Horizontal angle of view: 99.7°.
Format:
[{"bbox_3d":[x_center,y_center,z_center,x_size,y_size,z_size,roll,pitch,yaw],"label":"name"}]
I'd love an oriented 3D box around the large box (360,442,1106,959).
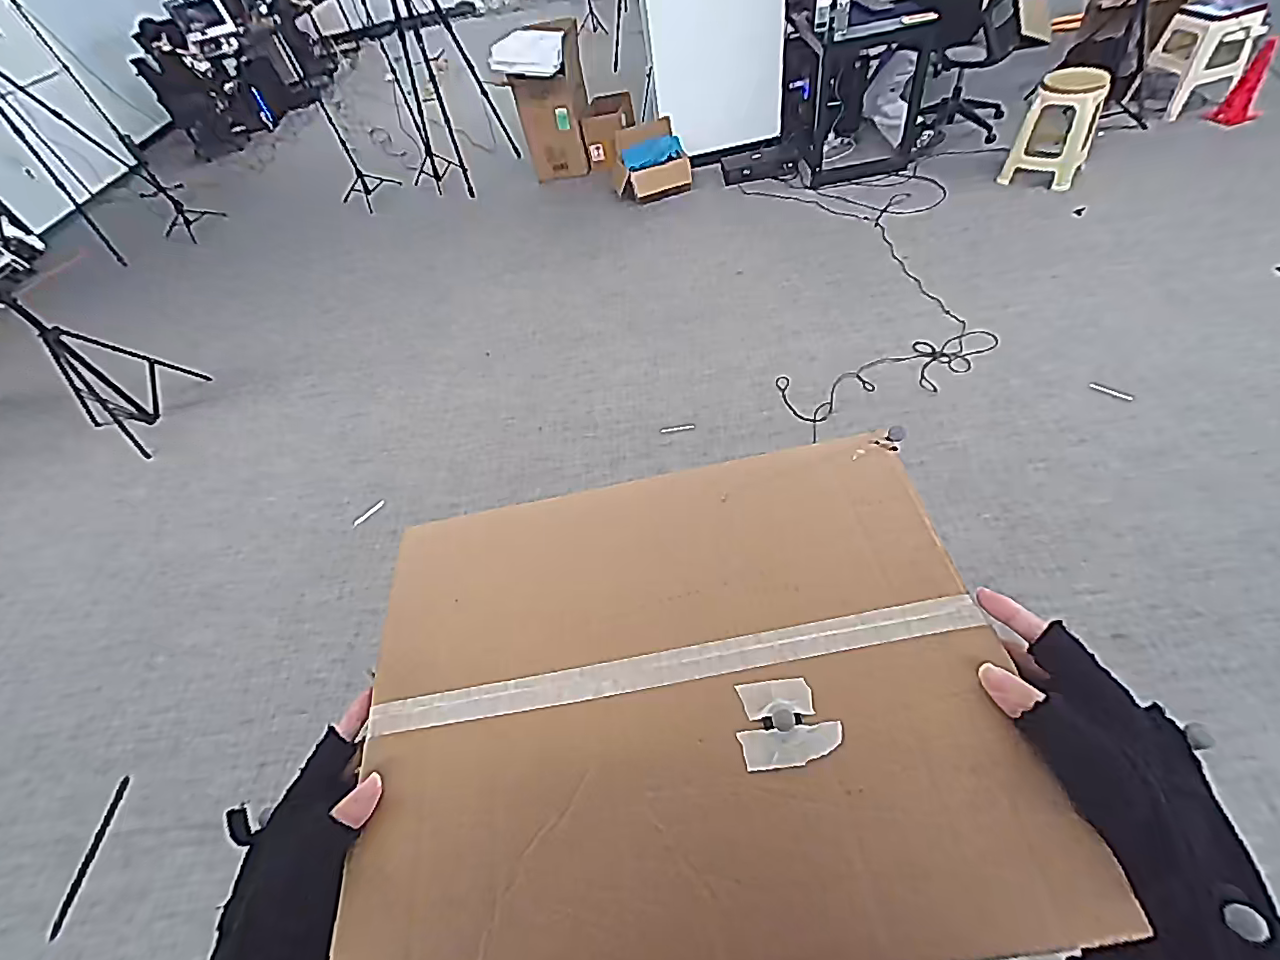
[{"bbox_3d":[0.045,0.215,0.485,0.408,0.320,0.320,-11,53,3],"label":"large box"}]
